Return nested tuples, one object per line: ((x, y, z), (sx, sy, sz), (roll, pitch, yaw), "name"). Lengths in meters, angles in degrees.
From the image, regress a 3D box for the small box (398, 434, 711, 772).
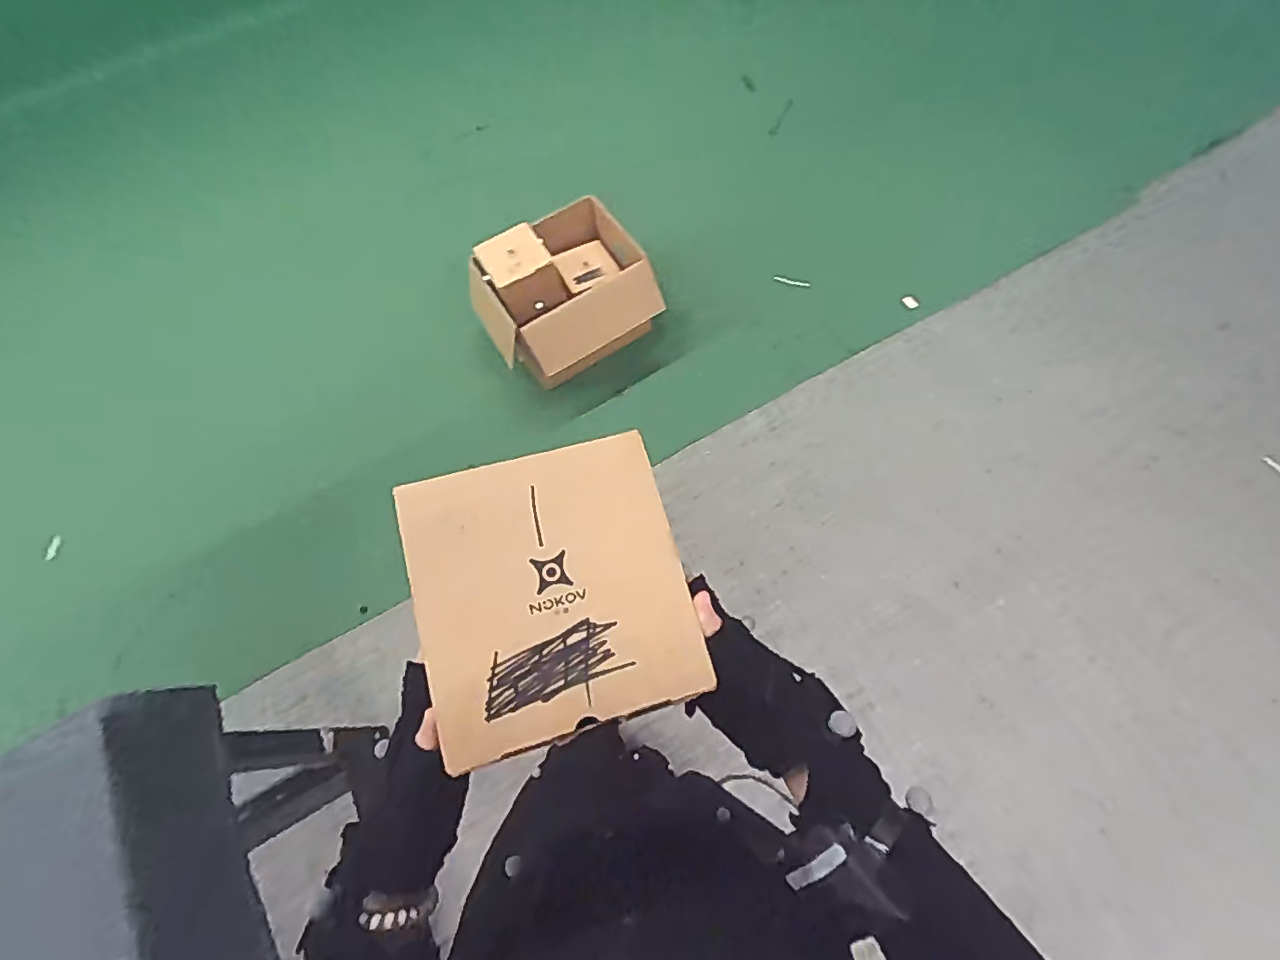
((-0.062, 0.087, 0.413), (0.168, 0.176, 0.179), (-14, 76, -10), "small box")
